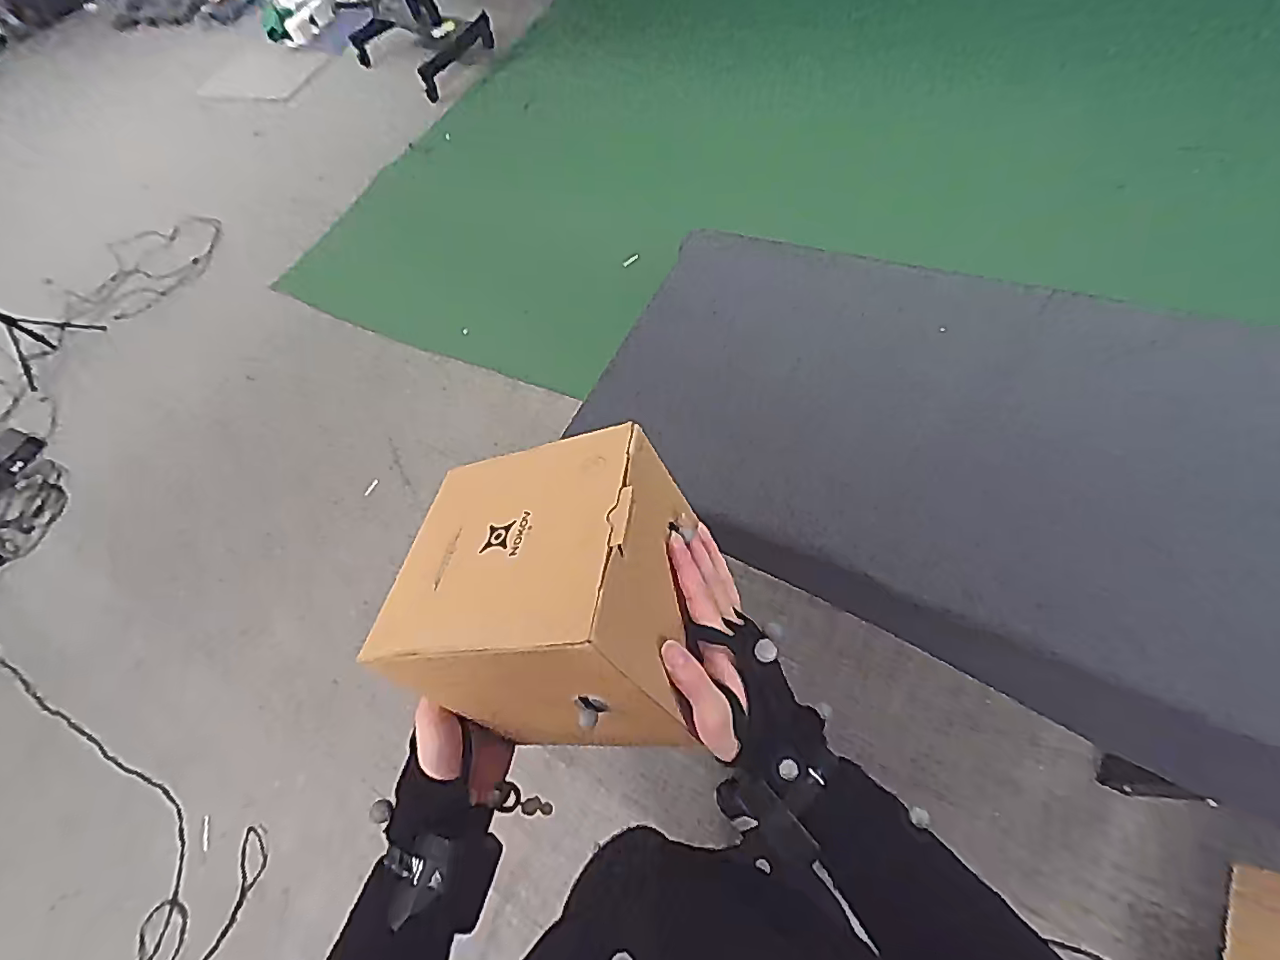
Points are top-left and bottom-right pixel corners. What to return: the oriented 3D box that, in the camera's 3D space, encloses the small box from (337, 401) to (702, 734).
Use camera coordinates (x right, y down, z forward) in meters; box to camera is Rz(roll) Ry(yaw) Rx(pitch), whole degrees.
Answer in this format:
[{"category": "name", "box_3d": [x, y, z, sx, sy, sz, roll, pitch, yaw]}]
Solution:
[{"category": "small box", "box_3d": [-0.064, 0.074, 0.399, 0.179, 0.176, 0.168, -13, 43, 24]}]
